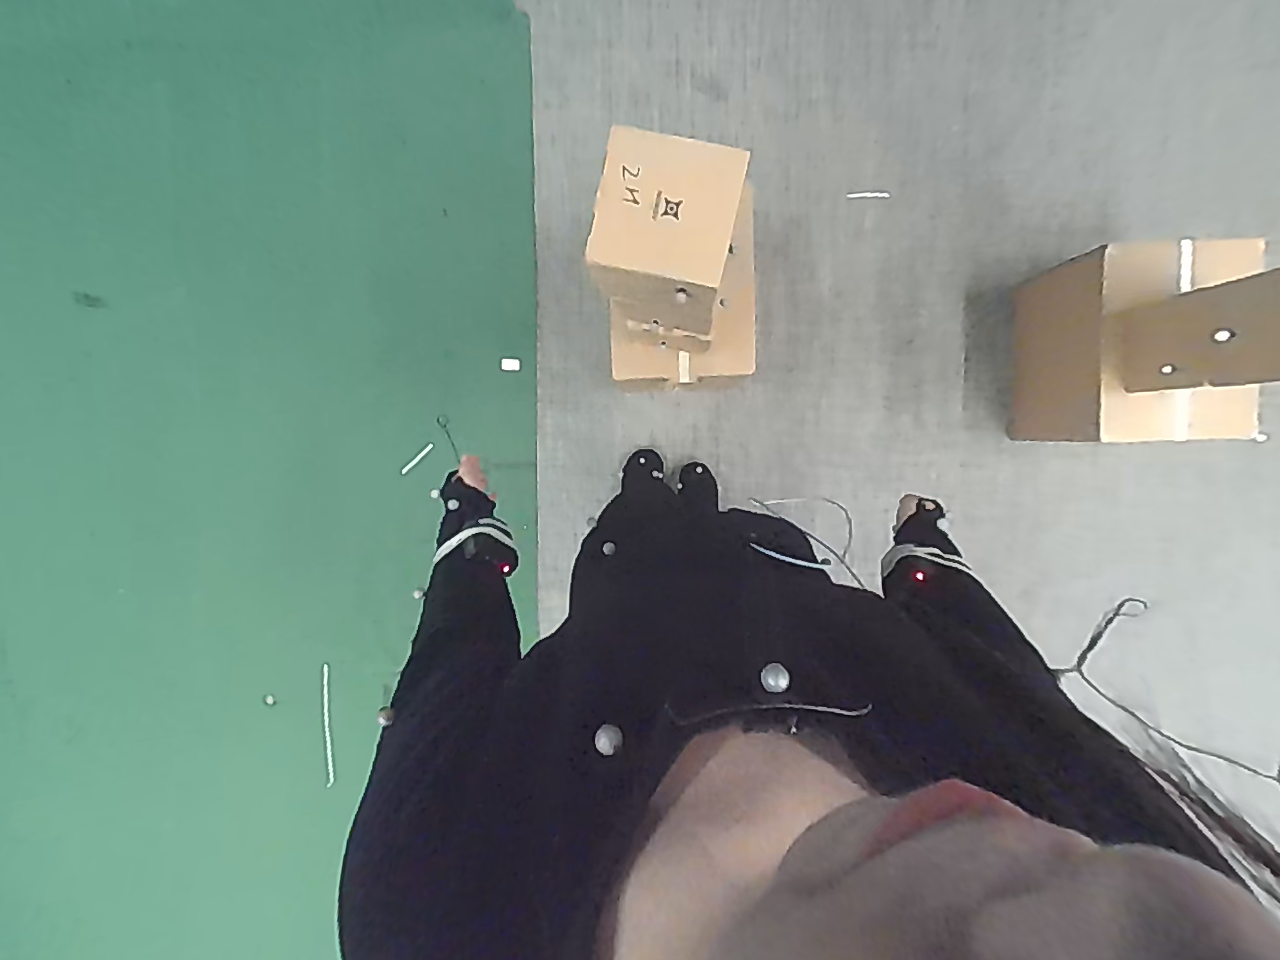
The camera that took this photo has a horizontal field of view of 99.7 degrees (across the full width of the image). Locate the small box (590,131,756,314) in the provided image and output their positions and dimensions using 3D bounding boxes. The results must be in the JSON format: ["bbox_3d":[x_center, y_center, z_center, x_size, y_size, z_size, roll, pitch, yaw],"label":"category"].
[{"bbox_3d":[0.045,-0.335,0.740,0.179,0.176,0.168,13,96,4],"label":"small box"}]

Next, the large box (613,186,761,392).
[{"bbox_3d":[0.107,-0.435,1.300,0.320,0.320,0.408,-2,94,4],"label":"large box"}]

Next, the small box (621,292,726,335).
[{"bbox_3d":[0.067,-0.355,0.902,0.168,0.176,0.179,12,97,4],"label":"small box"}]

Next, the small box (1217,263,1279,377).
[{"bbox_3d":[1.067,-0.261,0.841,0.168,0.176,0.179,-10,95,6],"label":"small box"}]

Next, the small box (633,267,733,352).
[{"bbox_3d":[0.085,-0.361,1.064,0.168,0.176,0.179,9,96,4],"label":"small box"}]
